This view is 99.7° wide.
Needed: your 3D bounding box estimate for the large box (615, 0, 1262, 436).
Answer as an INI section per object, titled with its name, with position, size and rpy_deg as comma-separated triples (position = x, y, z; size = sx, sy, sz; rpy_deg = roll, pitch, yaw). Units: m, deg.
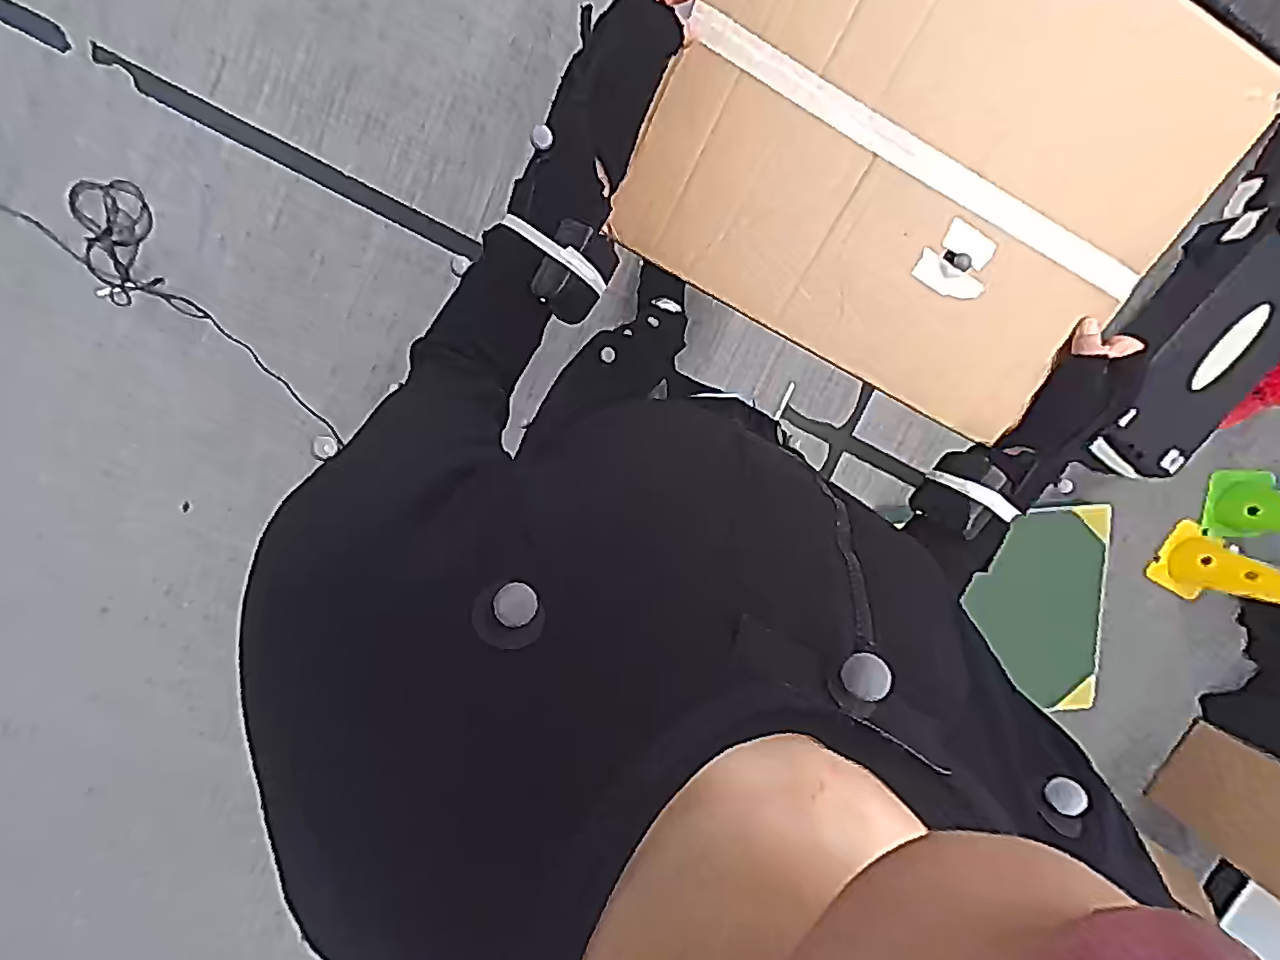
[large box]
position = 0.224, -0.304, 0.565
size = 0.408, 0.320, 0.320
rpy_deg = 27, 112, -8
